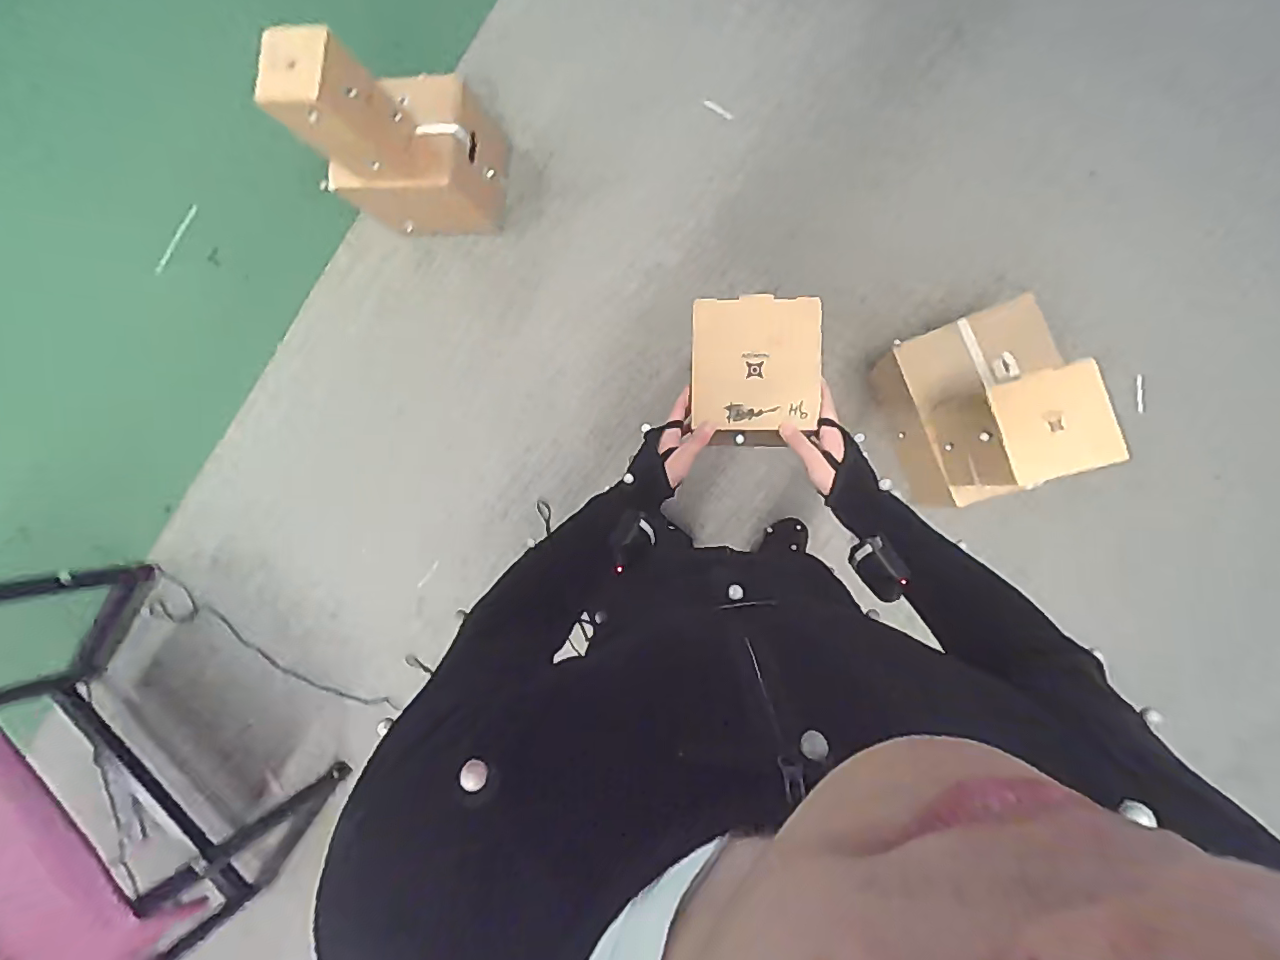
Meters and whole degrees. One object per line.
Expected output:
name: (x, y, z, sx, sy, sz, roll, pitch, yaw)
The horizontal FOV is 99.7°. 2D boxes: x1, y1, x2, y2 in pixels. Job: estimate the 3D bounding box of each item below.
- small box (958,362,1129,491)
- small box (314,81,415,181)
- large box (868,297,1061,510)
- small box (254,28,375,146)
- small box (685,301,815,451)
small box: (0.698, -0.085, 0.958, 0.168, 0.176, 0.179, -17, 84, 13)
small box: (-0.731, -0.927, 1.449, 0.179, 0.176, 0.168, 7, 91, 13)
large box: (0.819, -0.165, 1.350, 0.320, 0.320, 0.408, -21, 84, 10)
small box: (-0.767, -0.928, 1.289, 0.179, 0.176, 0.168, 9, 91, 13)
small box: (0.148, -0.138, 0.771, 0.168, 0.176, 0.179, 0, 87, 7)
